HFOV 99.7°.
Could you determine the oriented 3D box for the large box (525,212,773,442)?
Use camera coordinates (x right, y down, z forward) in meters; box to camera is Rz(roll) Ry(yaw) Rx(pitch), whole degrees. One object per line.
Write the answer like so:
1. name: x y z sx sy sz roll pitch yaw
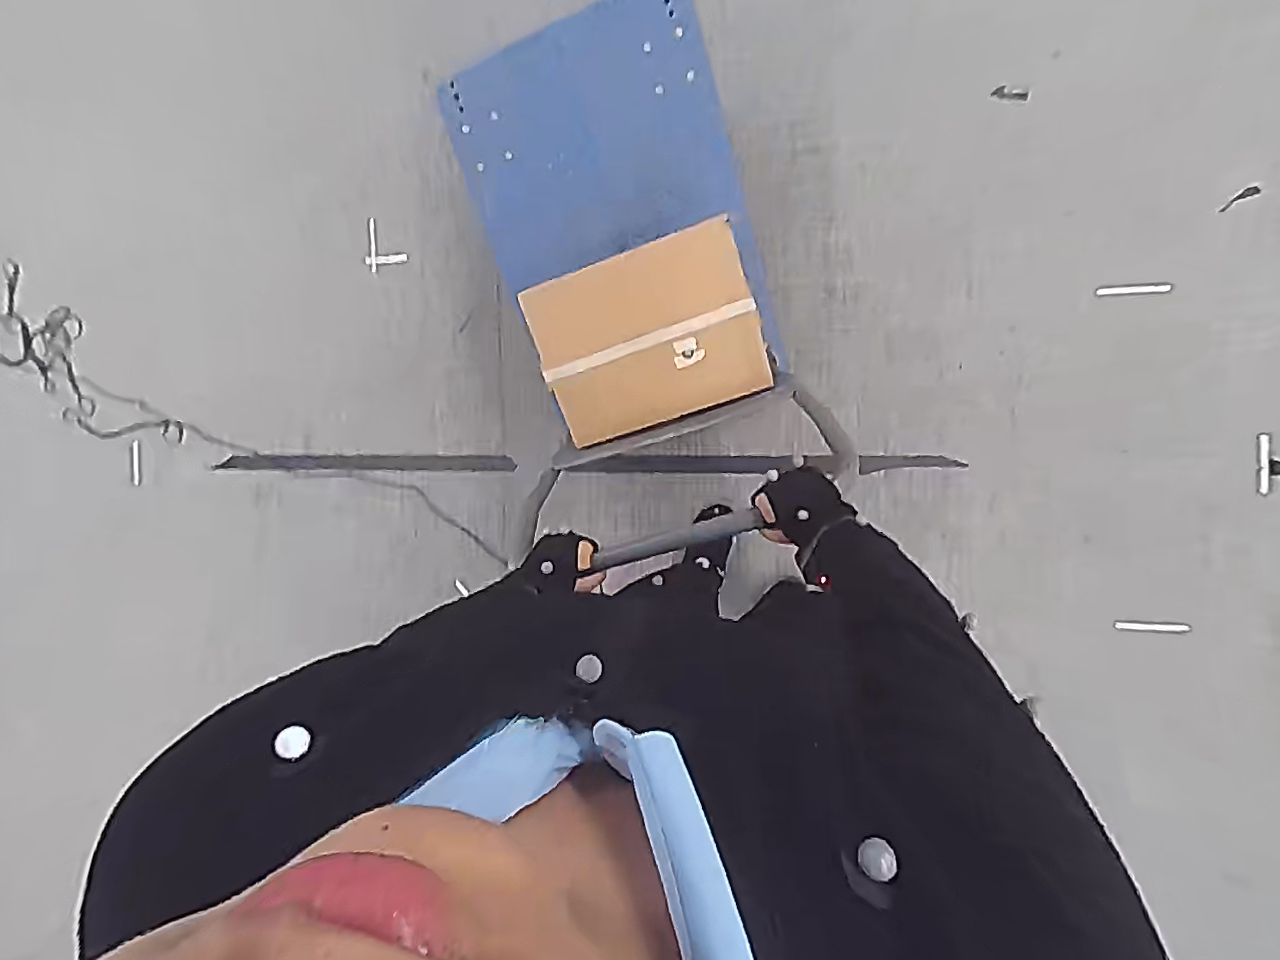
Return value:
1. large box: 0.026 -0.315 1.159 0.408 0.320 0.320 -18 106 9
